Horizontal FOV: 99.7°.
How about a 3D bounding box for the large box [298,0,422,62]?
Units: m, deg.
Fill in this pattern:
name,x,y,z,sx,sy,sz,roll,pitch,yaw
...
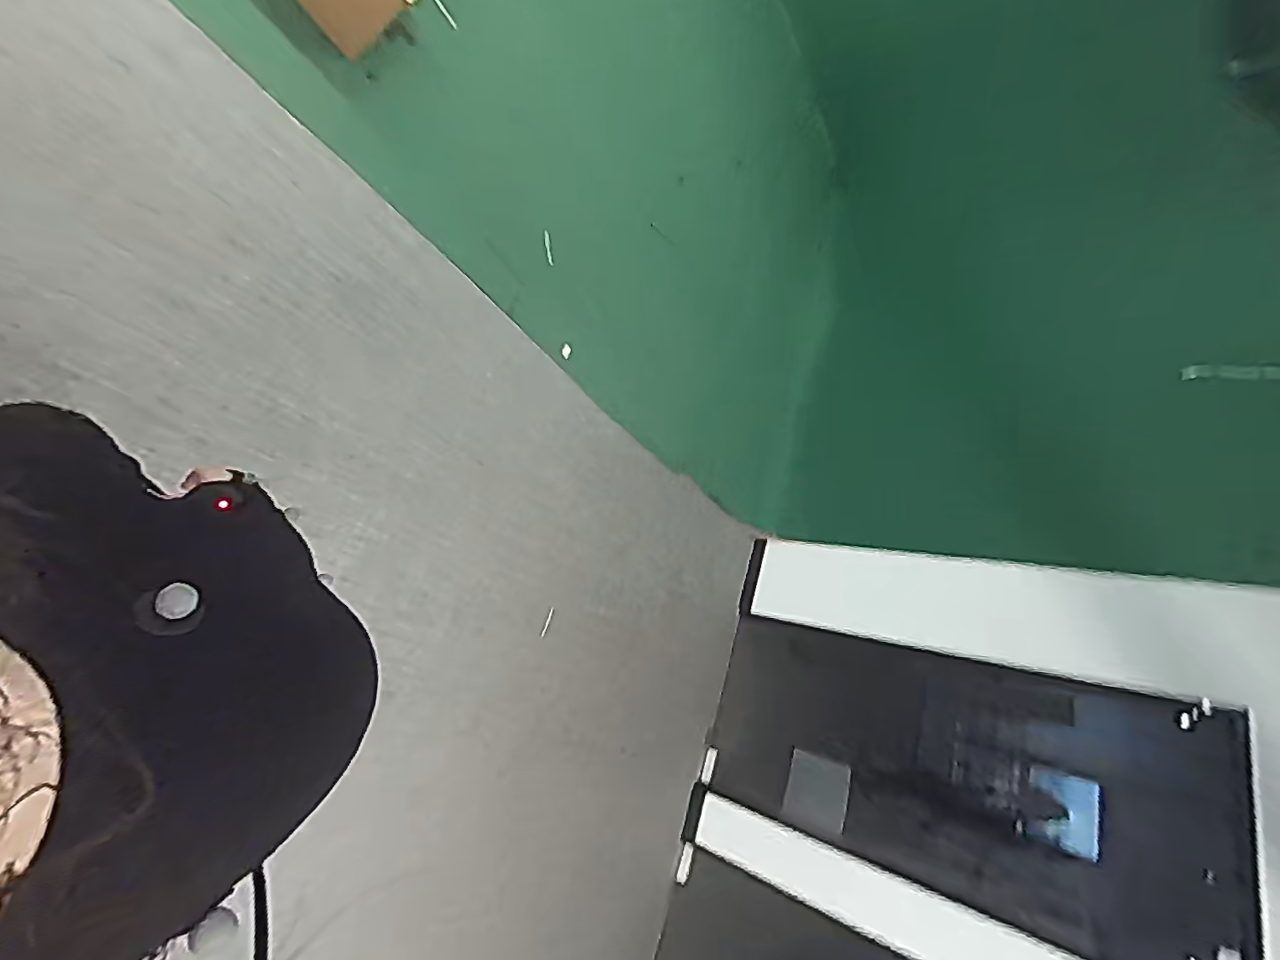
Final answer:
name,x,y,z,sx,sy,sz,roll,pitch,yaw
large box,-0.705,-1.332,1.270,0.408,0.320,0.320,43,59,-44
